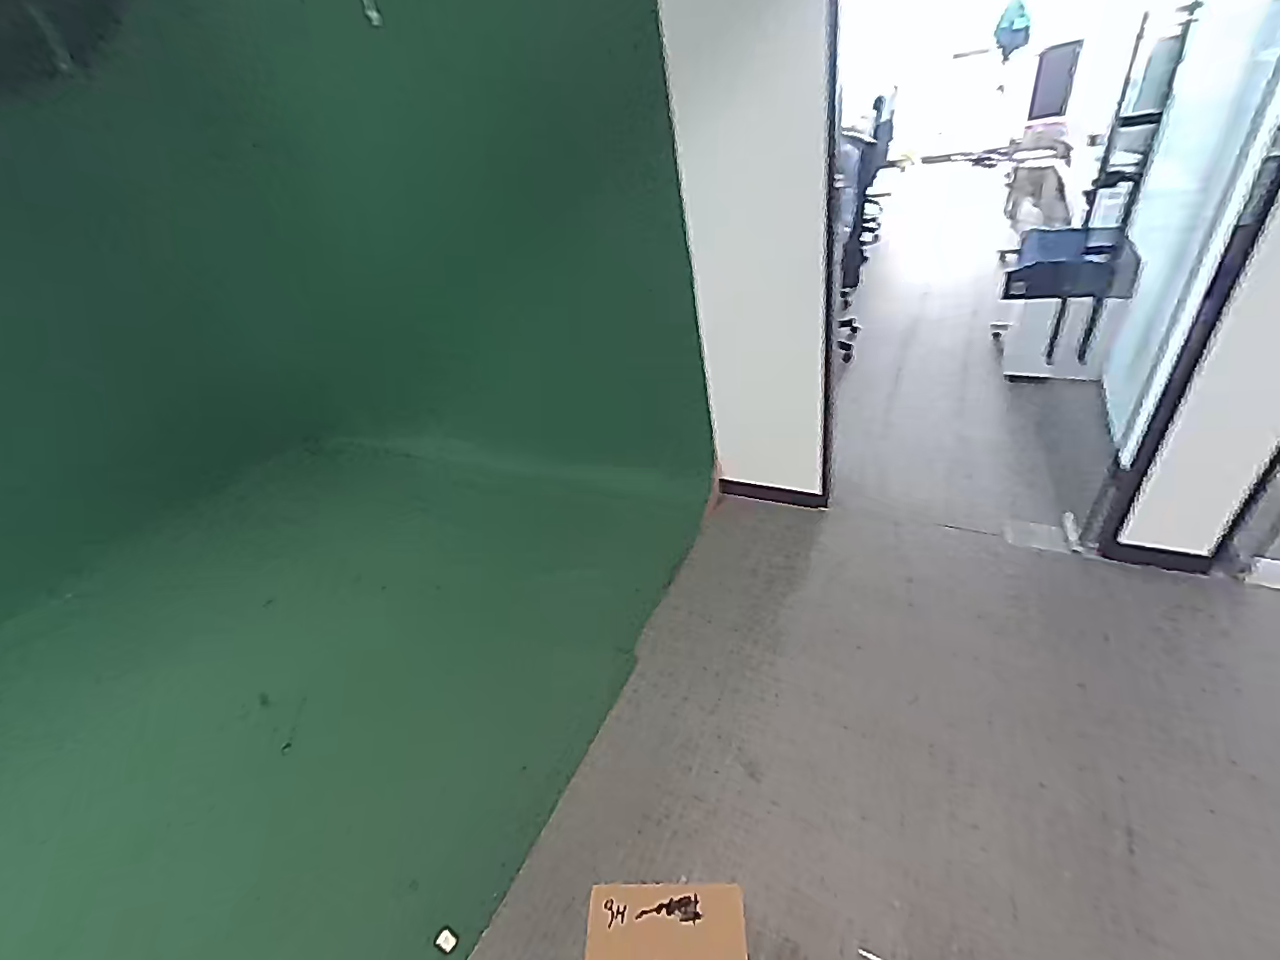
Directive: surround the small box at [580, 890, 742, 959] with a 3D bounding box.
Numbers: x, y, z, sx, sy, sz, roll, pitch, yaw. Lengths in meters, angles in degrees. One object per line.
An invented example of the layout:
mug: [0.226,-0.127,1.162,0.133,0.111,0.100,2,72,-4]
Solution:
small box: [0.027,0.560,0.561,0.168,0.176,0.179,-4,35,3]
